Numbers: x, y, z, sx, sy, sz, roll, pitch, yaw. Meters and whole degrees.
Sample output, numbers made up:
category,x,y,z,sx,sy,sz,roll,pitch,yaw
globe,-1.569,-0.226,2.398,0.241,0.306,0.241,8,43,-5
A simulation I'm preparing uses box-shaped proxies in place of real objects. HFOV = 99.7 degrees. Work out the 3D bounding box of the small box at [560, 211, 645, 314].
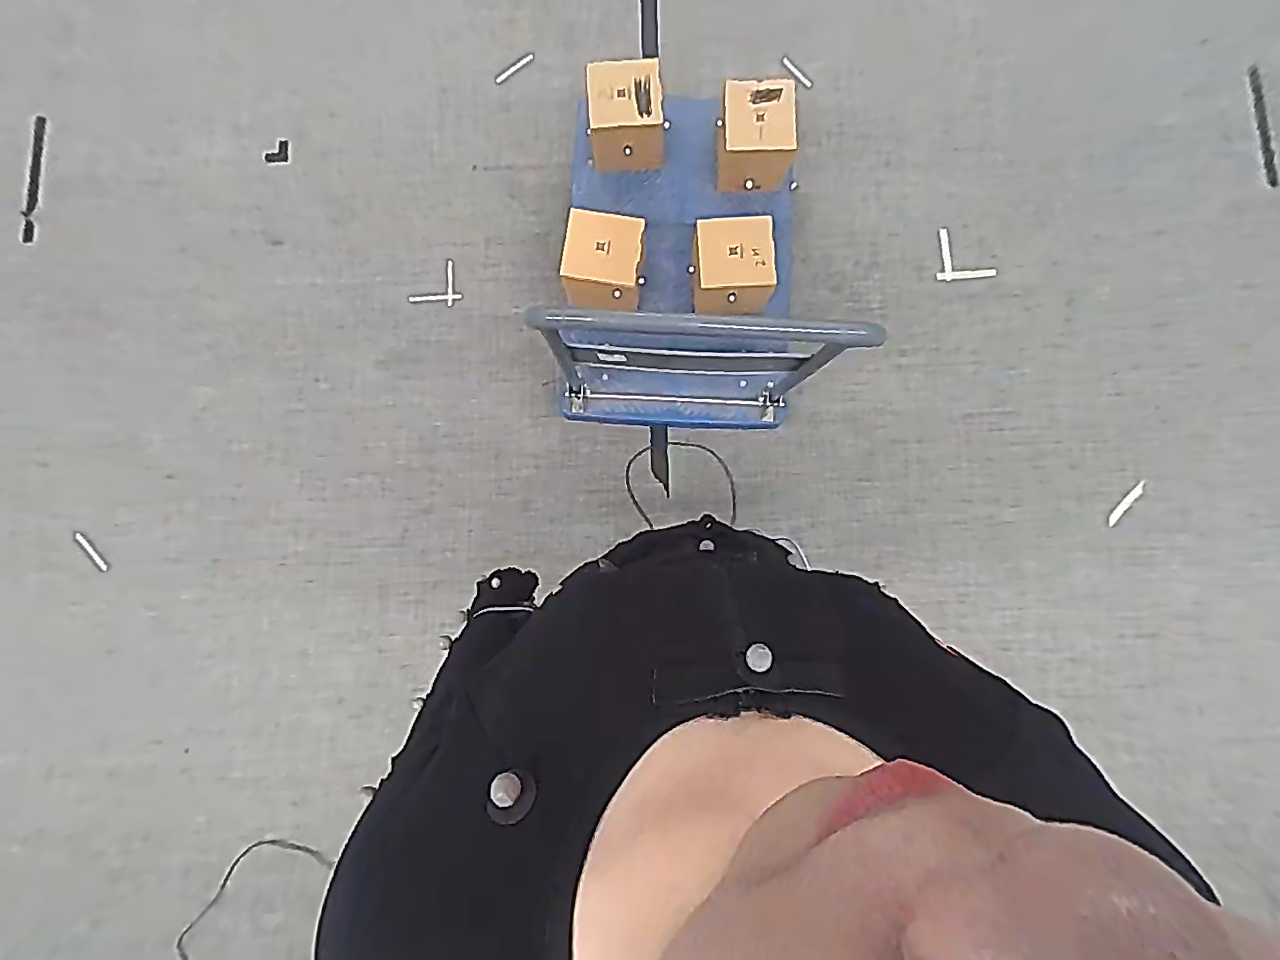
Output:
category,x,y,z,sx,sy,sz,roll,pitch,yaw
small box,-0.088,-0.524,1.325,0.179,0.176,0.168,8,84,-1

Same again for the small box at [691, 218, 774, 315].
category,x,y,z,sx,sy,sz,roll,pitch,yaw
small box,0.218,-0.514,1.323,0.179,0.176,0.168,-3,85,0

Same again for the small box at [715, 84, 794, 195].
category,x,y,z,sx,sy,sz,roll,pitch,yaw
small box,0.279,-0.845,1.351,0.168,0.176,0.179,-1,86,1
